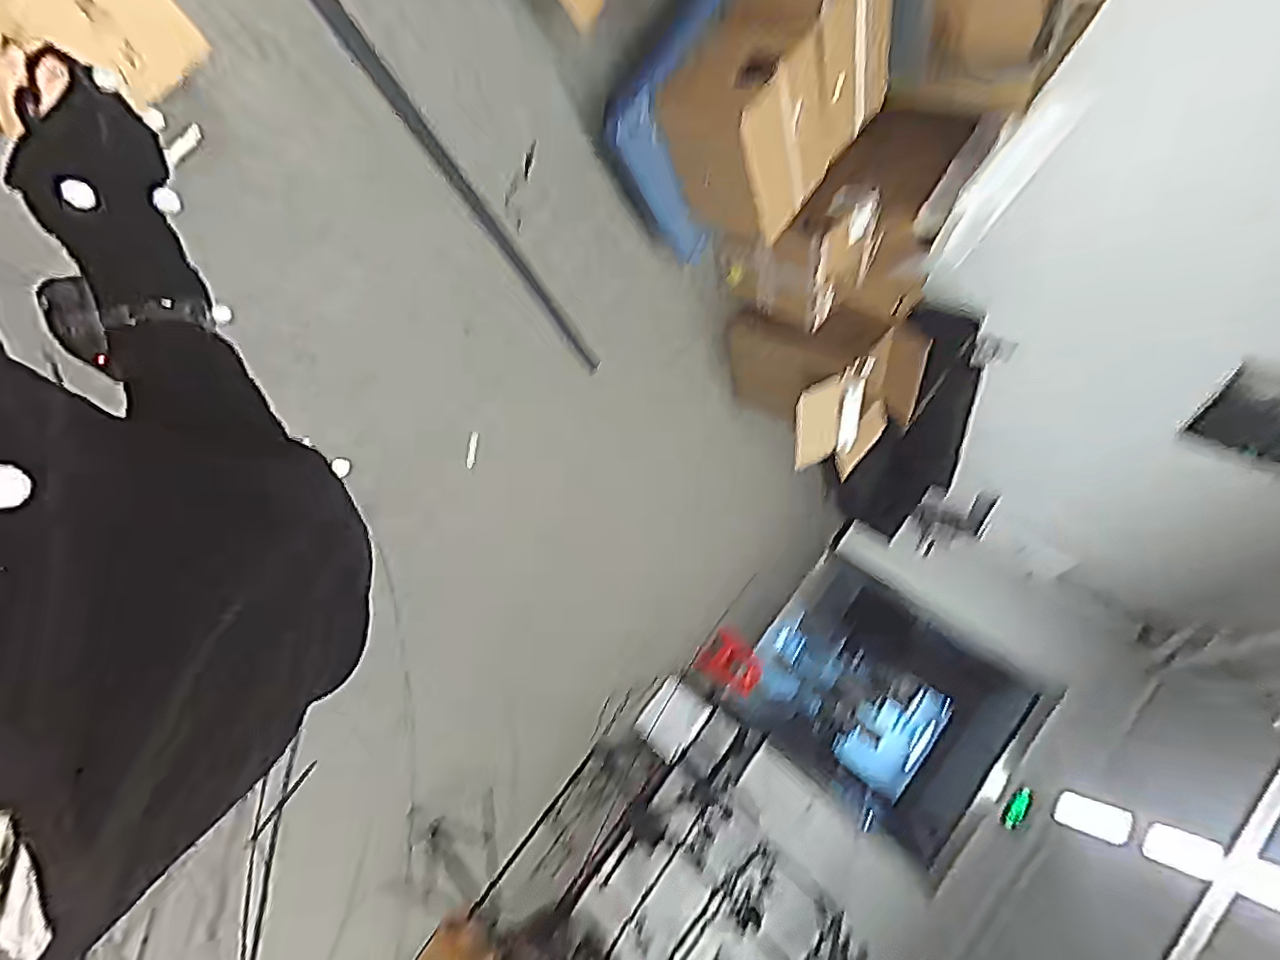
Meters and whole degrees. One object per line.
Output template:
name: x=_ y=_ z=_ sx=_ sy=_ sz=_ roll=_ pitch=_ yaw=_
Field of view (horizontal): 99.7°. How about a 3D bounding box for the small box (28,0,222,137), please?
small box: x=-0.710 y=-0.591 z=0.701 sx=0.168 sy=0.176 sz=0.179 roll=-50 pitch=149 yaw=-9
